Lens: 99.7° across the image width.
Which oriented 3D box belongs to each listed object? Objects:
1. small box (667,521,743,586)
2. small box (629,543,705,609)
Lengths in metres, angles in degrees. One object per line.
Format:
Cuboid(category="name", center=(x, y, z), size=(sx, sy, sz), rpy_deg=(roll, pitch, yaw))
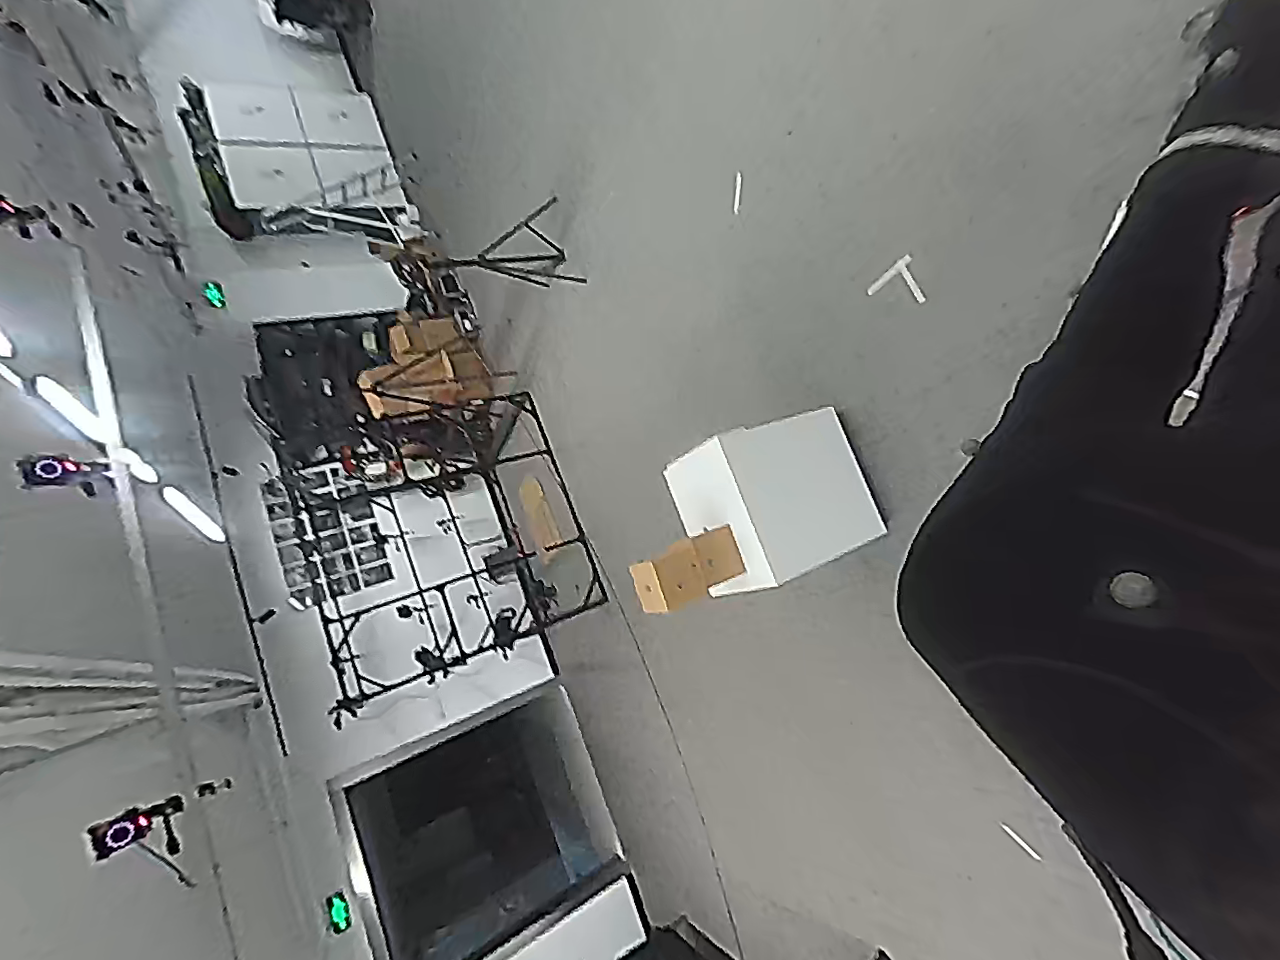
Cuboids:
Cuboid(category="small box", center=(0.224, 0.254, 1.838), size=(0.168, 0.176, 0.179), rpy_deg=(-31, 77, 61))
Cuboid(category="small box", center=(0.092, 0.312, 1.759), size=(0.179, 0.176, 0.168), rpy_deg=(-27, 81, 62))
